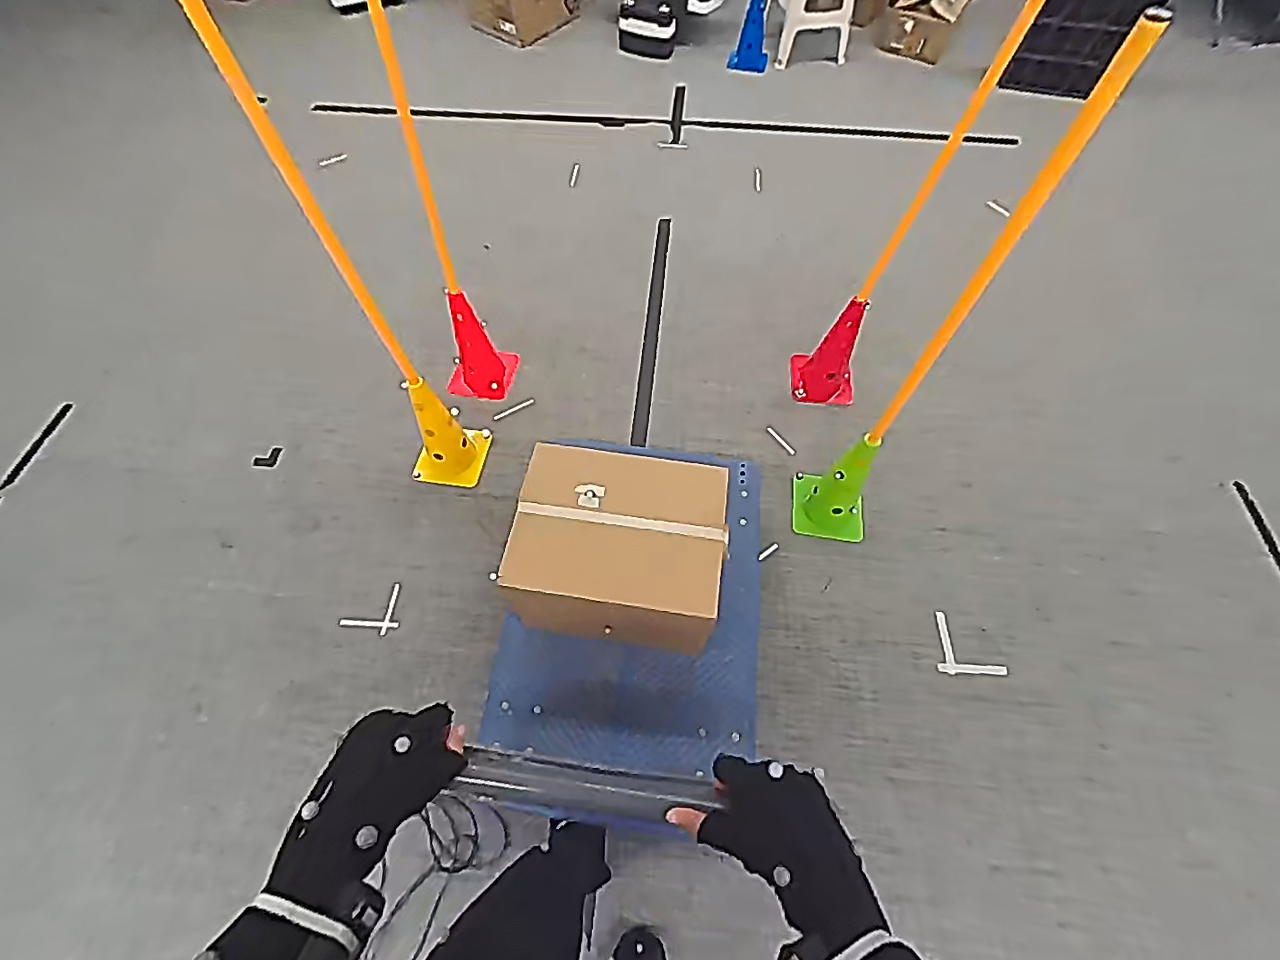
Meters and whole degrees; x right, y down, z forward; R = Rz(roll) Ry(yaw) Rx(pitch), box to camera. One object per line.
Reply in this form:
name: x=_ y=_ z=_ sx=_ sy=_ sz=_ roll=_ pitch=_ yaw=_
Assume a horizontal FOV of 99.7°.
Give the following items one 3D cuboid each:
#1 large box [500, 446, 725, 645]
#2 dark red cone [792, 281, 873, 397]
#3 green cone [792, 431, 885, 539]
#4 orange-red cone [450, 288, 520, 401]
large box: x=-0.038 y=0.154 z=1.179 sx=0.408 sy=0.320 sz=0.320 roll=7 pitch=61 yaw=5
dark red cone: x=0.616 y=-0.440 z=1.657 sx=0.201 sy=0.394 sz=0.202 roll=5 pitch=61 yaw=1
green cone: x=0.553 y=-0.011 z=1.439 sx=0.202 sy=0.368 sz=0.200 roll=8 pitch=61 yaw=3
orange-red cone: x=-0.518 y=-0.443 z=1.676 sx=0.198 sy=0.360 sz=0.199 roll=12 pitch=60 yaw=5
